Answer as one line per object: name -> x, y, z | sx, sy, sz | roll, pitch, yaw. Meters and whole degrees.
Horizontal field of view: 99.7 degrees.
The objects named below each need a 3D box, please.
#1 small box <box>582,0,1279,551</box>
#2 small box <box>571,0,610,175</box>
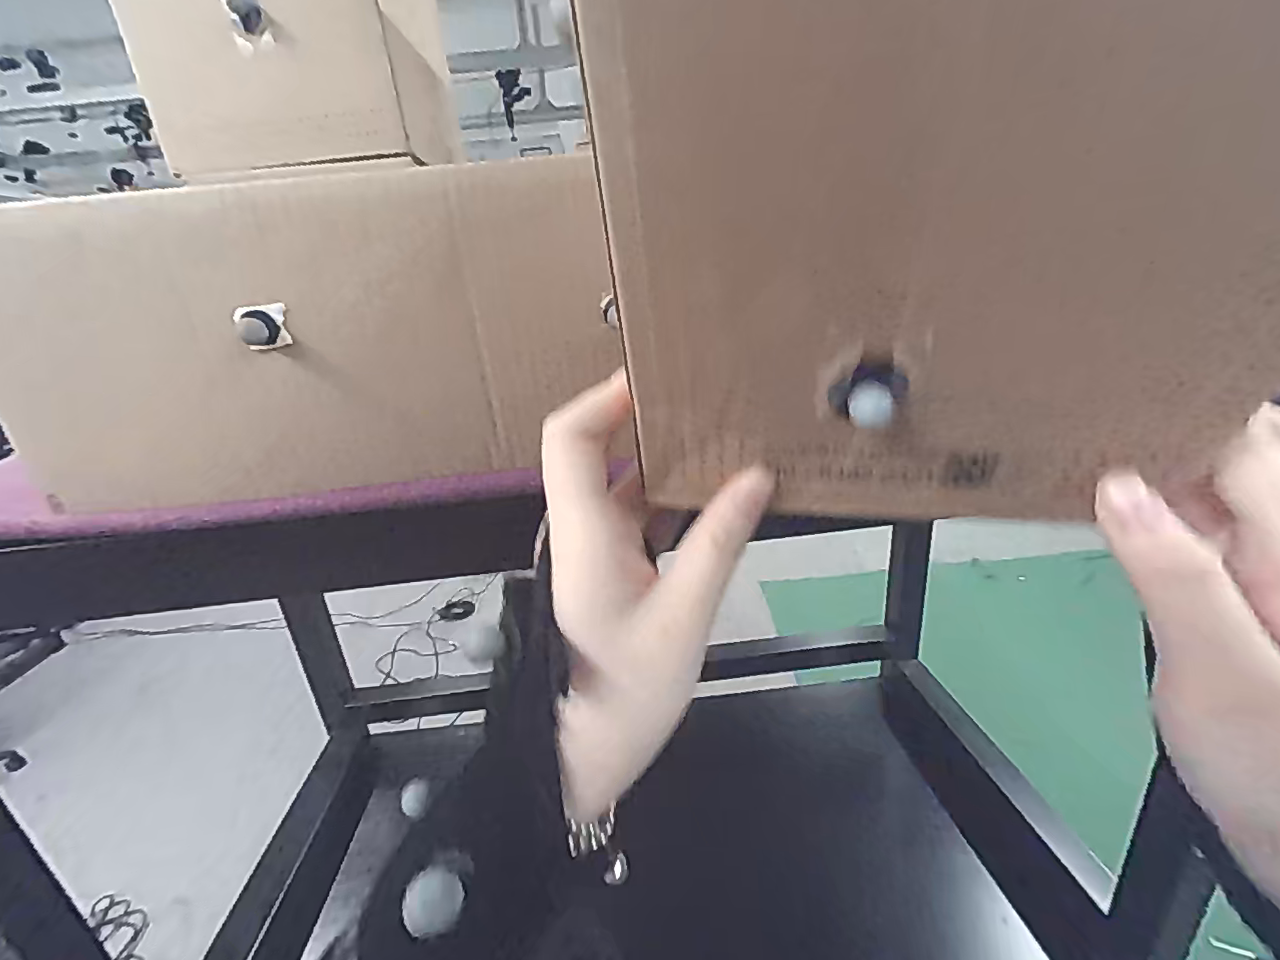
small box -> 0.085, -0.099, 0.186 | 0.168, 0.176, 0.179 | 2, 49, 10
small box -> 0.032, -0.365, 0.452 | 0.168, 0.176, 0.179 | -7, 20, 1
